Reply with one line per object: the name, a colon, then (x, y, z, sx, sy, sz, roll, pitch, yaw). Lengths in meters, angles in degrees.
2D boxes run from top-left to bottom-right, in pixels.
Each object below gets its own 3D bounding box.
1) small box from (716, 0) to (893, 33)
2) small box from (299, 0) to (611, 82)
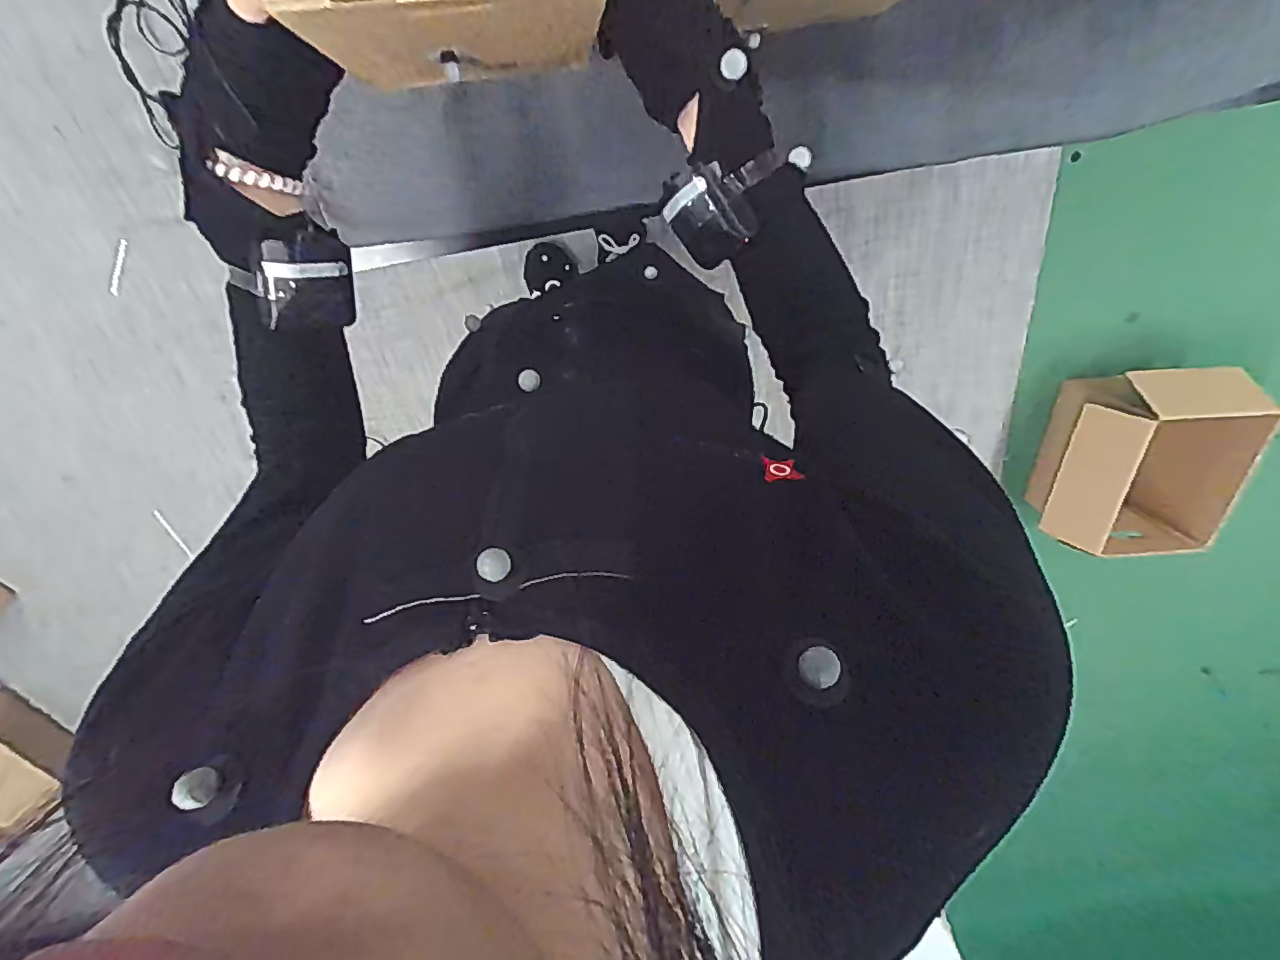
small box: (0.149, -0.485, 0.426, 0.168, 0.176, 0.179, -9, 118, 1)
small box: (-0.111, -0.344, 0.289, 0.168, 0.176, 0.179, -10, 117, -5)
